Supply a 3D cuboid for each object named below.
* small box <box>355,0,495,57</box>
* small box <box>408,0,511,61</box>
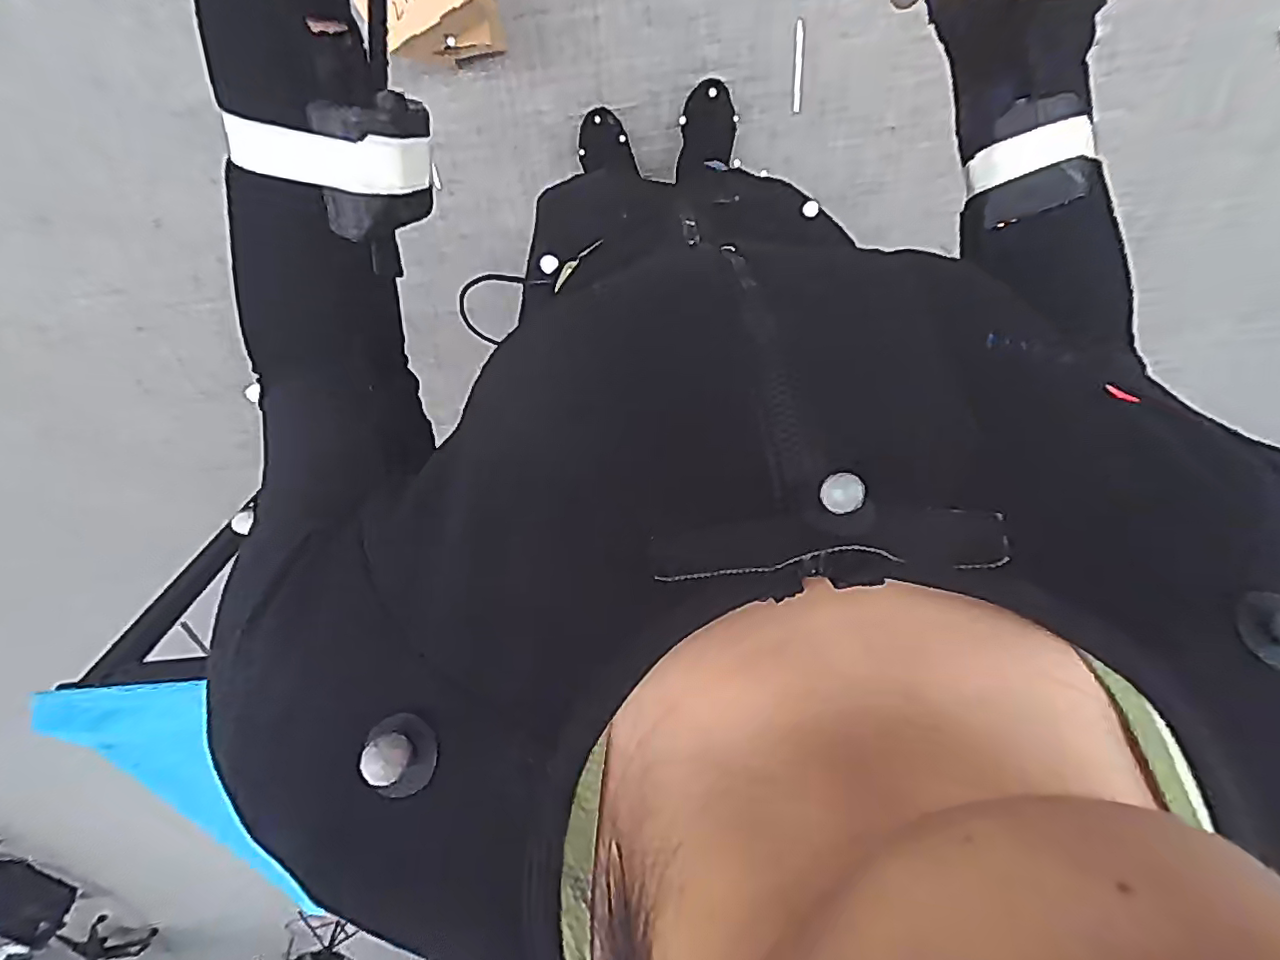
[{"bbox_3d":[-0.350,-0.791,0.838,0.168,0.176,0.179,-17,126,13],"label":"small box"},{"bbox_3d":[-0.345,-0.878,0.978,0.168,0.176,0.179,-7,125,5],"label":"small box"}]
